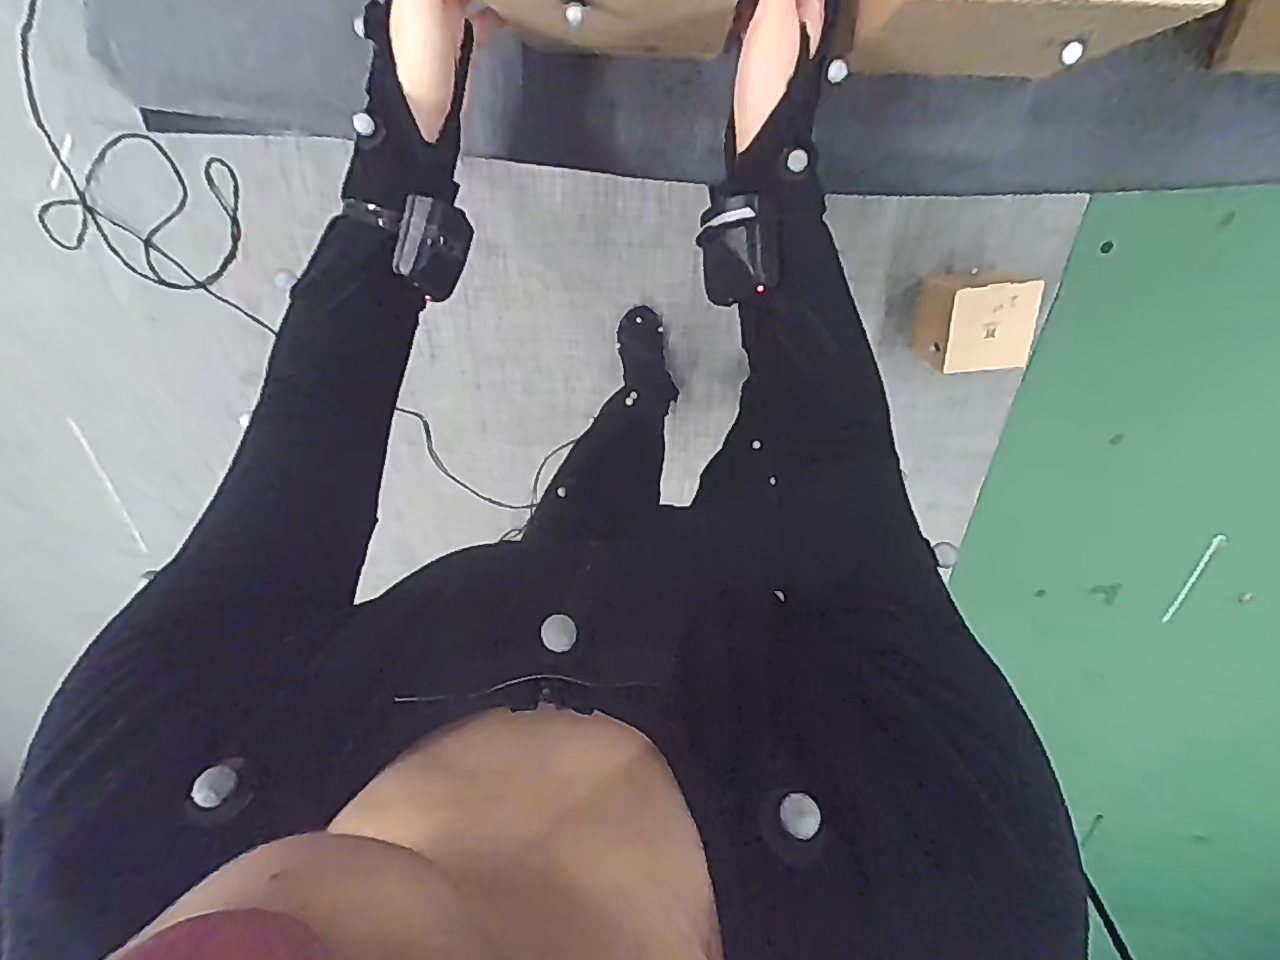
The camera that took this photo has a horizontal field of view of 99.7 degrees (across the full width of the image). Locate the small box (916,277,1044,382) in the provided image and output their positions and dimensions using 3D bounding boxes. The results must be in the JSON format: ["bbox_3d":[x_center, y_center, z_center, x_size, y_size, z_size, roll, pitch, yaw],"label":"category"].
[{"bbox_3d":[0.710,-0.325,1.155,0.168,0.176,0.179,-4,118,6],"label":"small box"}]
